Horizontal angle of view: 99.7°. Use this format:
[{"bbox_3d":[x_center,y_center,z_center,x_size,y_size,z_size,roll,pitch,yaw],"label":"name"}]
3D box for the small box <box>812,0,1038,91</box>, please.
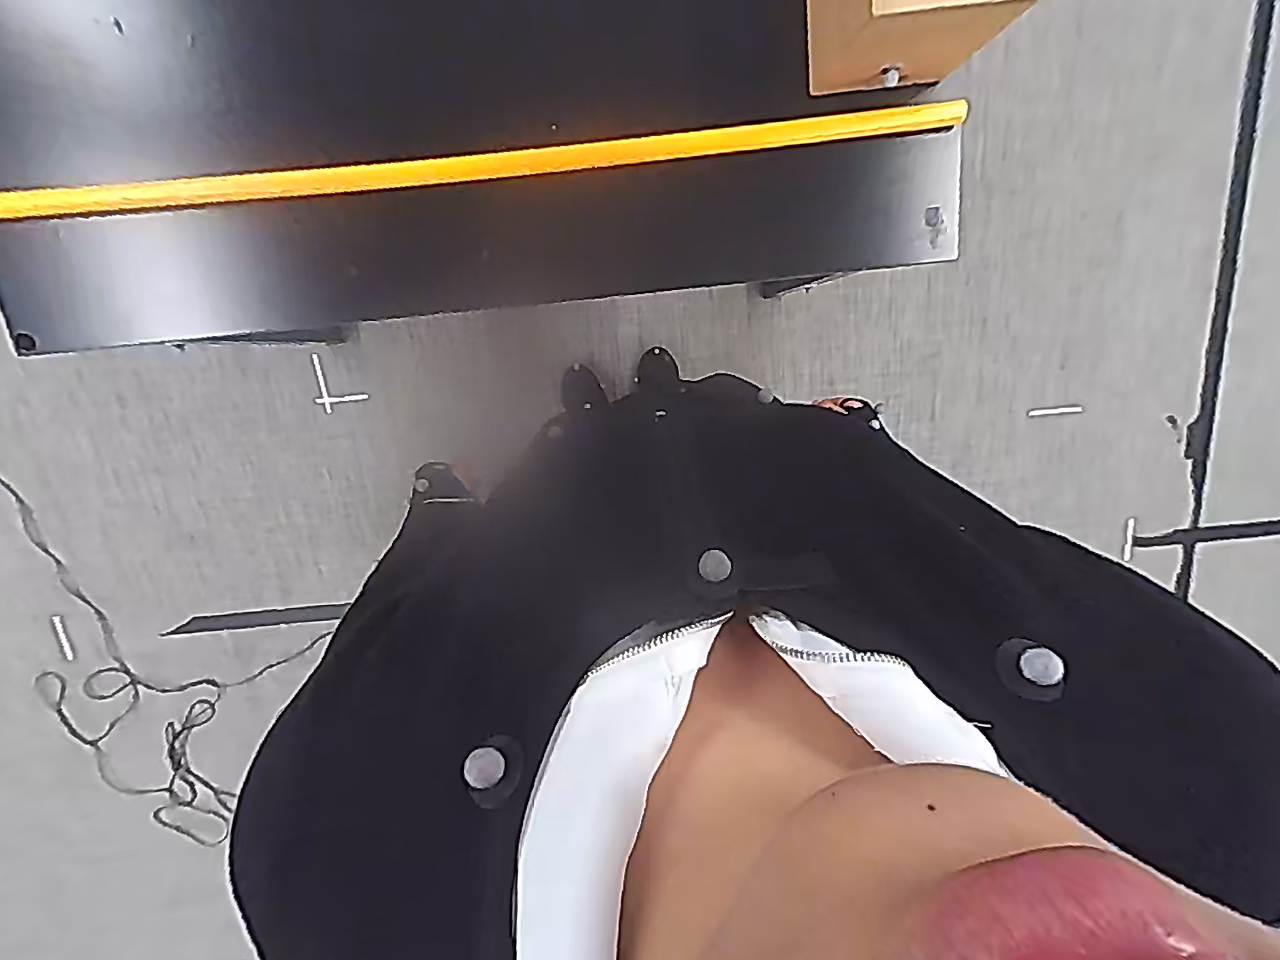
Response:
[{"bbox_3d":[0.284,-0.543,0.559,0.168,0.176,0.179,-6,104,-1],"label":"small box"}]
